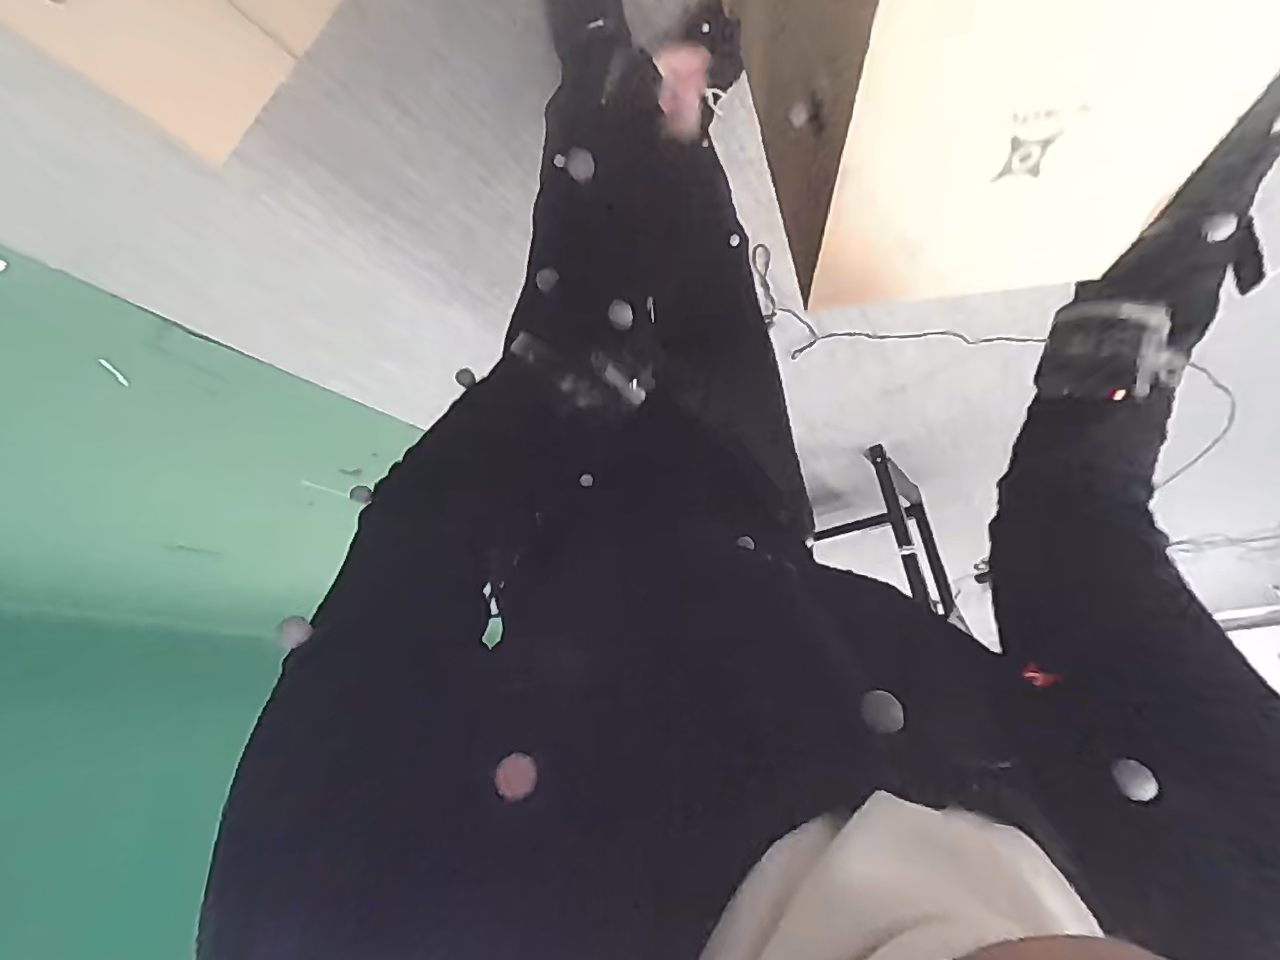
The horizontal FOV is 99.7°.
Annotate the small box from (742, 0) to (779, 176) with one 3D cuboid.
[{"bbox_3d":[0.164,-0.355,0.372,0.168,0.176,0.179,-7,156,7],"label":"small box"}]

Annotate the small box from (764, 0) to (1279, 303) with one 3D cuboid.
[{"bbox_3d":[0.161,-0.223,0.272,0.168,0.176,0.179,-6,155,5],"label":"small box"}]
